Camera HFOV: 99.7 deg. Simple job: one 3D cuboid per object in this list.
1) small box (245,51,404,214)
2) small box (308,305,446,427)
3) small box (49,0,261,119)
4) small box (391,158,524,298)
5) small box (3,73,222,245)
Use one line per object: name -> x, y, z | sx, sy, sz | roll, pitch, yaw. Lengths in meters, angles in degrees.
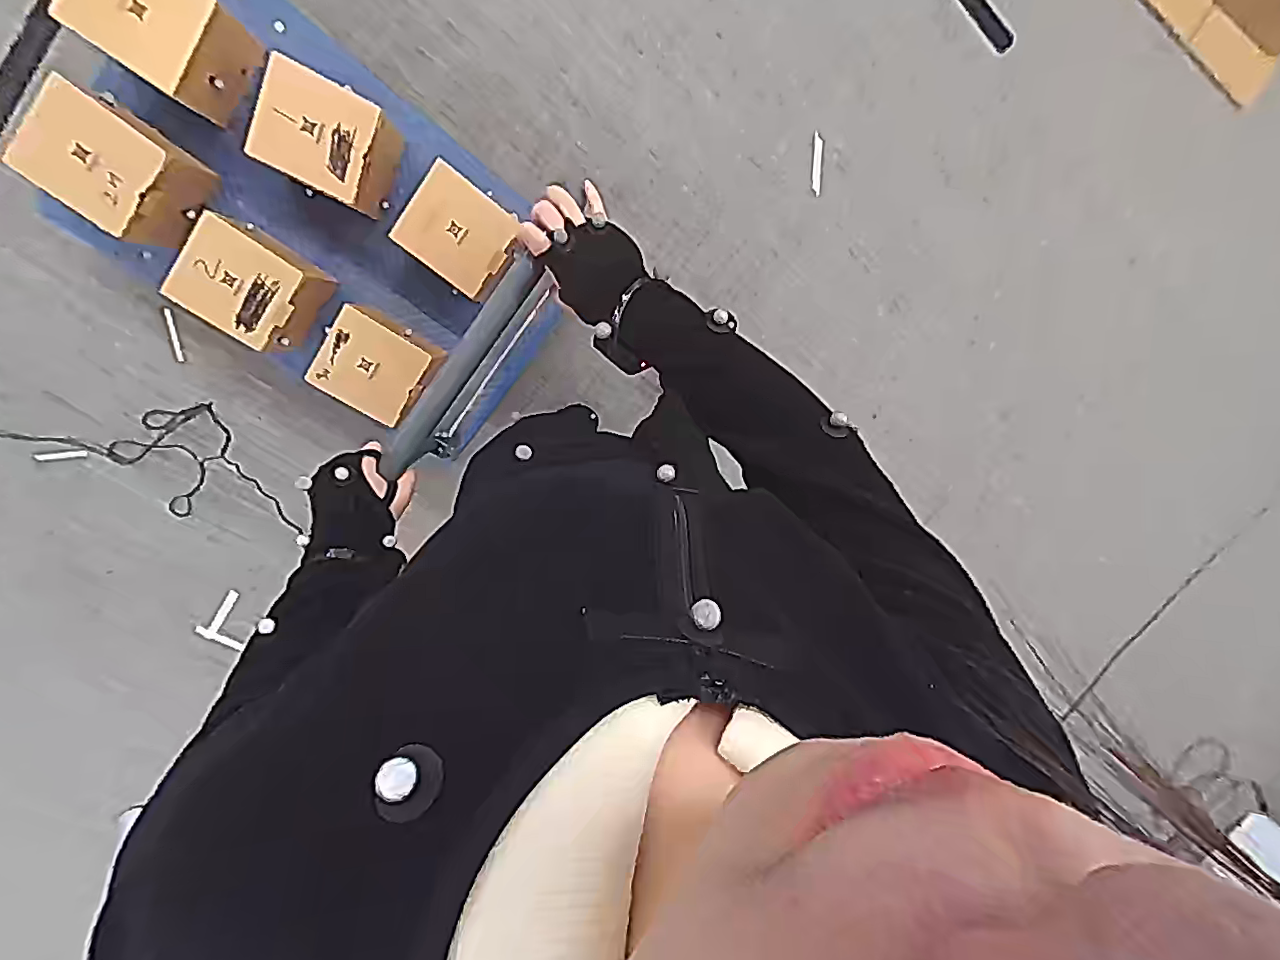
small box -> -0.549, -0.601, 0.967 | 0.179, 0.176, 0.168 | 22, 101, -14
small box -> -0.511, -0.233, 1.083 | 0.179, 0.176, 0.168 | 31, 98, -18
small box -> -0.773, -0.734, 0.886 | 0.179, 0.176, 0.168 | 31, 99, -17
small box -> -0.339, -0.473, 1.045 | 0.179, 0.176, 0.168 | 35, 97, -17
small box -> -0.882, -0.529, 0.926 | 0.179, 0.176, 0.168 | 36, 97, -19
